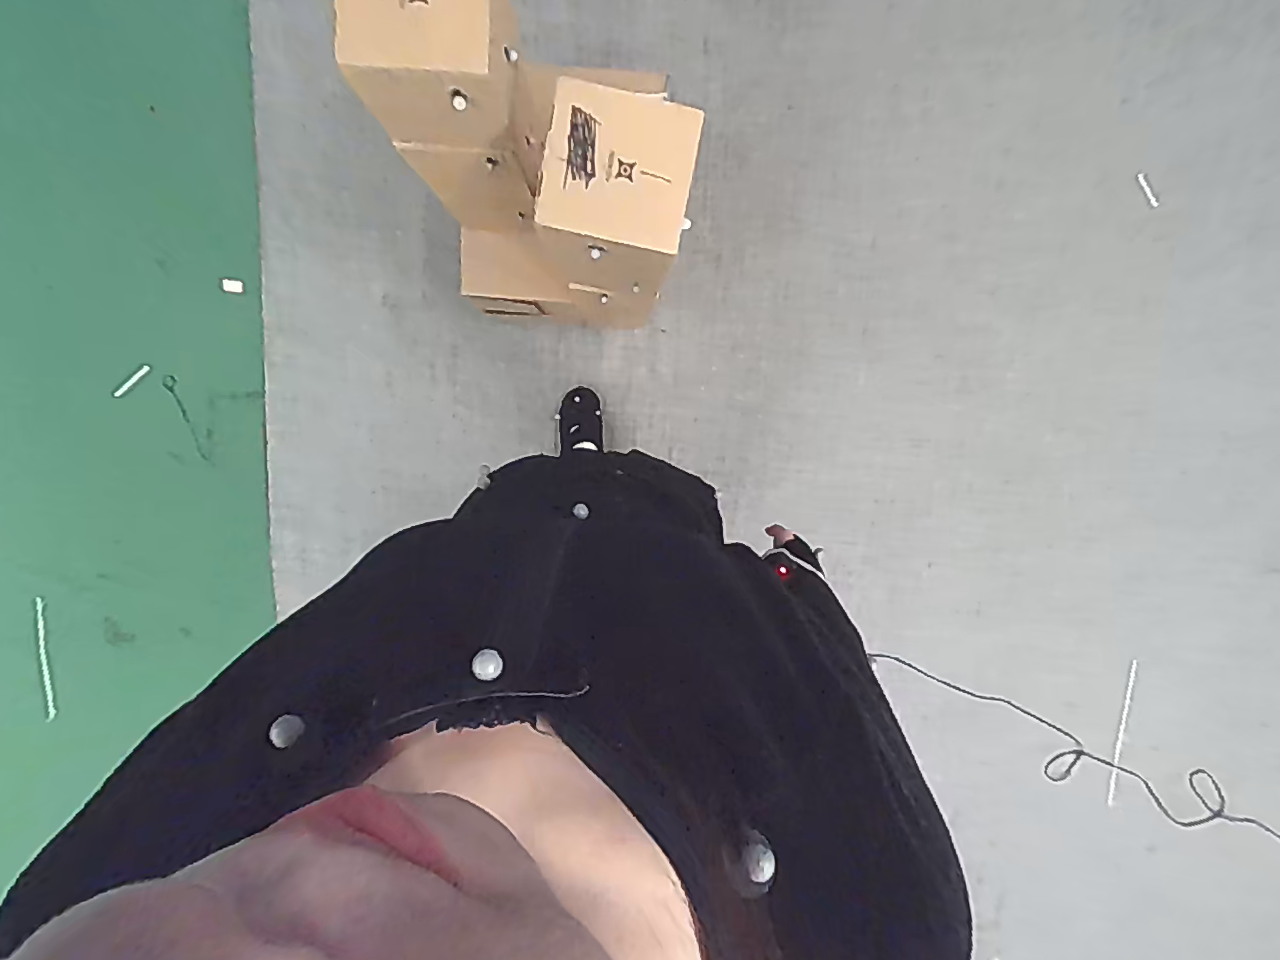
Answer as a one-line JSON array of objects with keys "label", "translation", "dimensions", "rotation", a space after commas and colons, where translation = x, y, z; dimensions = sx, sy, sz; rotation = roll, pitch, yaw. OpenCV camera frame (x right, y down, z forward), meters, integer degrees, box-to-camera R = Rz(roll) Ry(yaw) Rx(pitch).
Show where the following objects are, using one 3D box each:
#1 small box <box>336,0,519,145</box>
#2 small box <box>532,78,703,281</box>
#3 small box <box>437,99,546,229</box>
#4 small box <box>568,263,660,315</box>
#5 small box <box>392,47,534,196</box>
[{"label": "small box", "translation": [-0.256, -0.555, 0.688], "dimensions": [0.179, 0.176, 0.168], "rotation": [3, 95, -2]}, {"label": "small box", "translation": [-0.031, -0.376, 0.712], "dimensions": [0.179, 0.176, 0.168], "rotation": [11, 98, -5]}, {"label": "small box", "translation": [-0.267, -0.585, 1.014], "dimensions": [0.179, 0.176, 0.168], "rotation": [1, 96, -1]}, {"label": "small box", "translation": [-0.042, -0.430, 1.037], "dimensions": [0.168, 0.176, 0.179], "rotation": [7, 97, -3]}, {"label": "small box", "translation": [-0.270, -0.569, 0.852], "dimensions": [0.179, 0.176, 0.168], "rotation": [2, 96, -3]}]
